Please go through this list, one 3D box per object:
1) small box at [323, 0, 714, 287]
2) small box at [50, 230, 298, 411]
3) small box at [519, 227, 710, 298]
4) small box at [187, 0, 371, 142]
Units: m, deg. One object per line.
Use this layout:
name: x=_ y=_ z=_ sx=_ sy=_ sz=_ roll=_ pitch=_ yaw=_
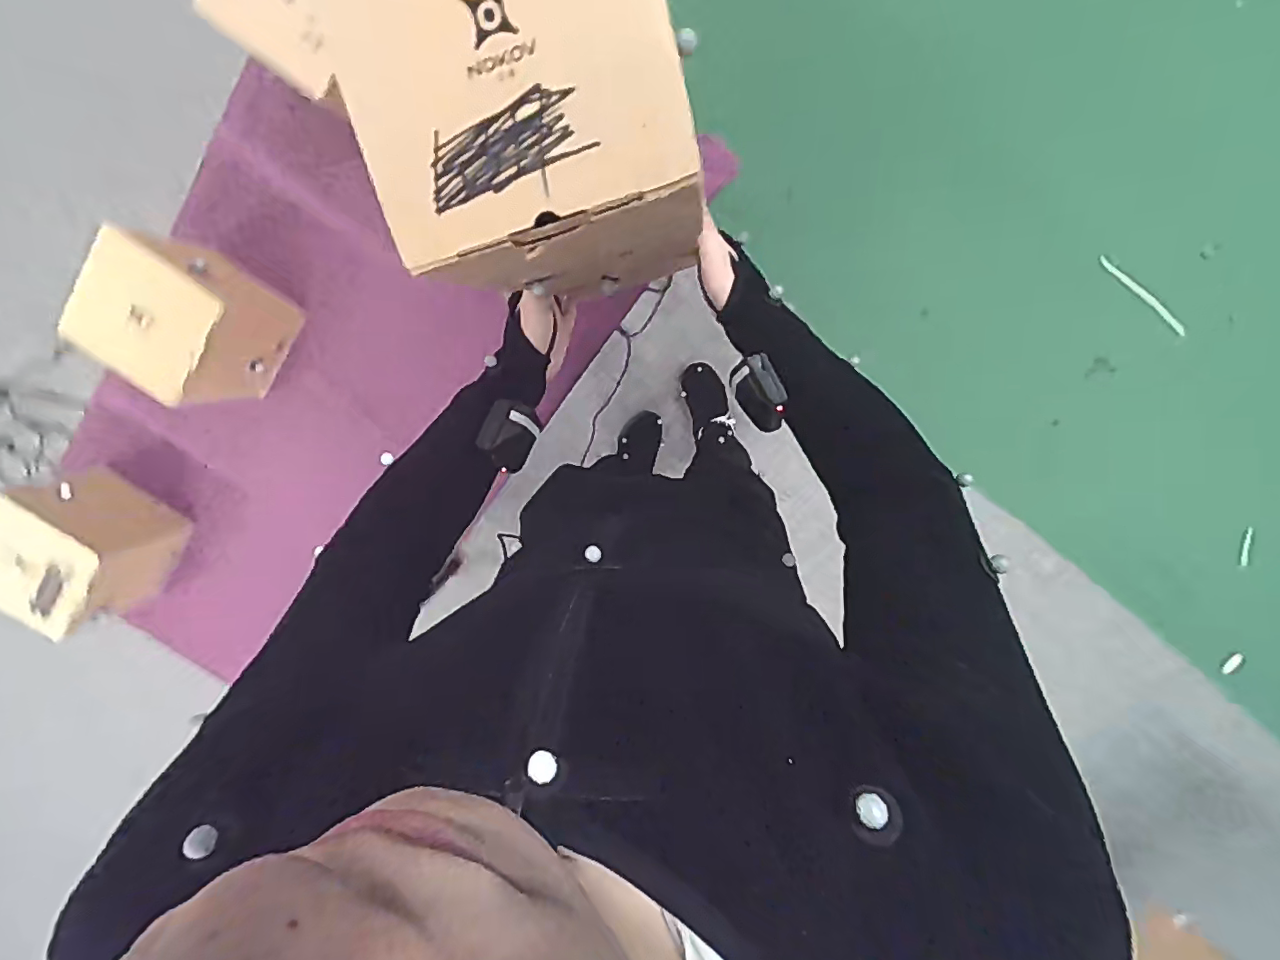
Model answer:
small box: x=-0.051 y=-0.224 z=0.328 sx=0.168 sy=0.176 sz=0.179 roll=-12 pitch=103 yaw=9
small box: x=-0.647 y=-0.217 z=0.773 sx=0.179 sy=0.176 sz=0.168 roll=35 pitch=101 yaw=-6
small box: x=-0.038 y=-0.273 z=0.484 sx=0.168 sy=0.176 sz=0.179 roll=-12 pitch=105 yaw=9
small box: x=-0.396 y=-0.569 z=0.683 sx=0.179 sy=0.176 sz=0.168 roll=35 pitch=104 yaw=-6
